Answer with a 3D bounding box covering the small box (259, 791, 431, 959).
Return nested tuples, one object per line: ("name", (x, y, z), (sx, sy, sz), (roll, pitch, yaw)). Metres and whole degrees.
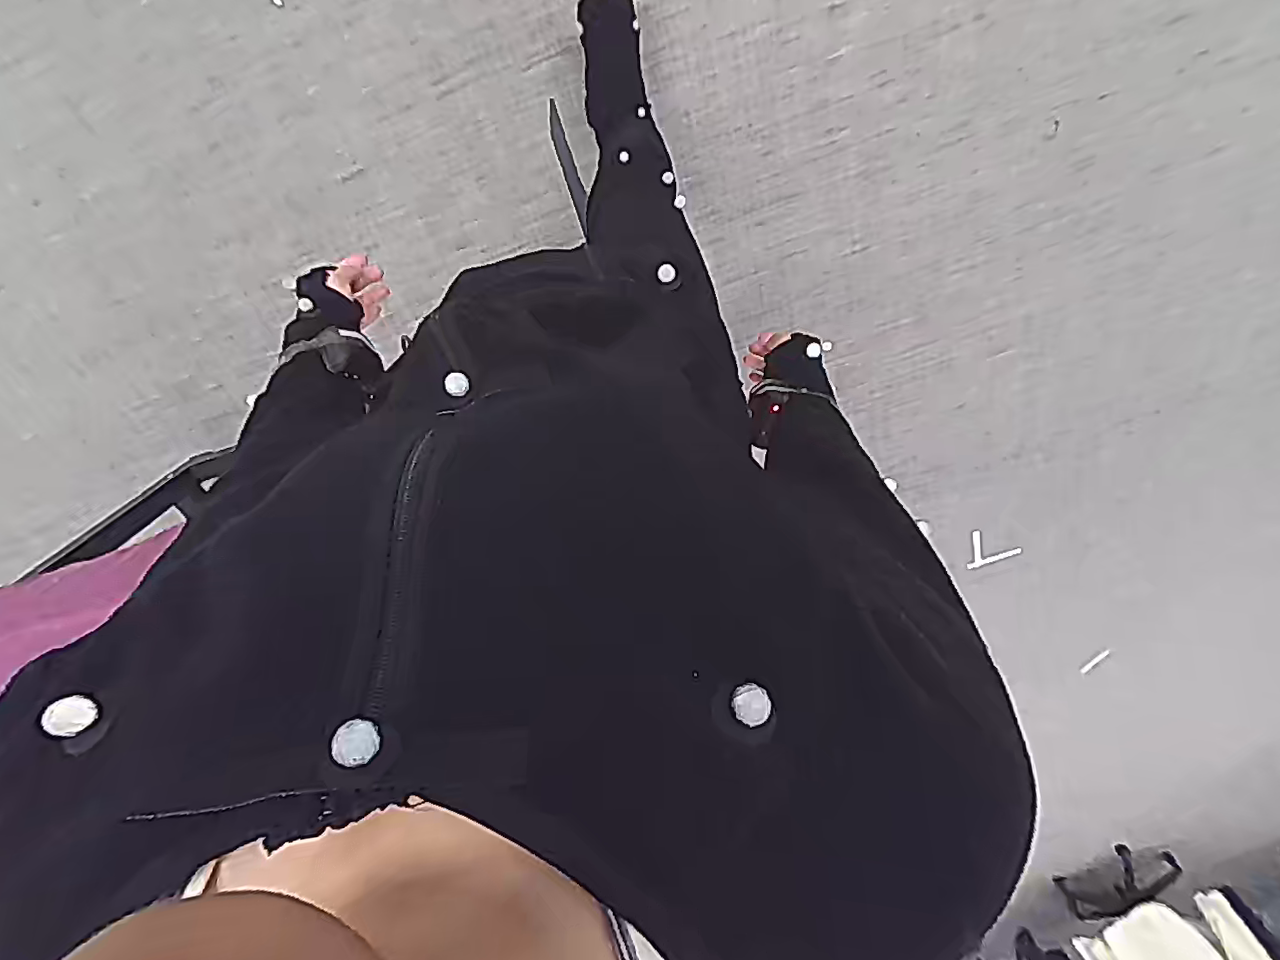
("small box", (-0.498, 0.685, 0.946), (0.179, 0.176, 0.168), (-22, 120, 7))
